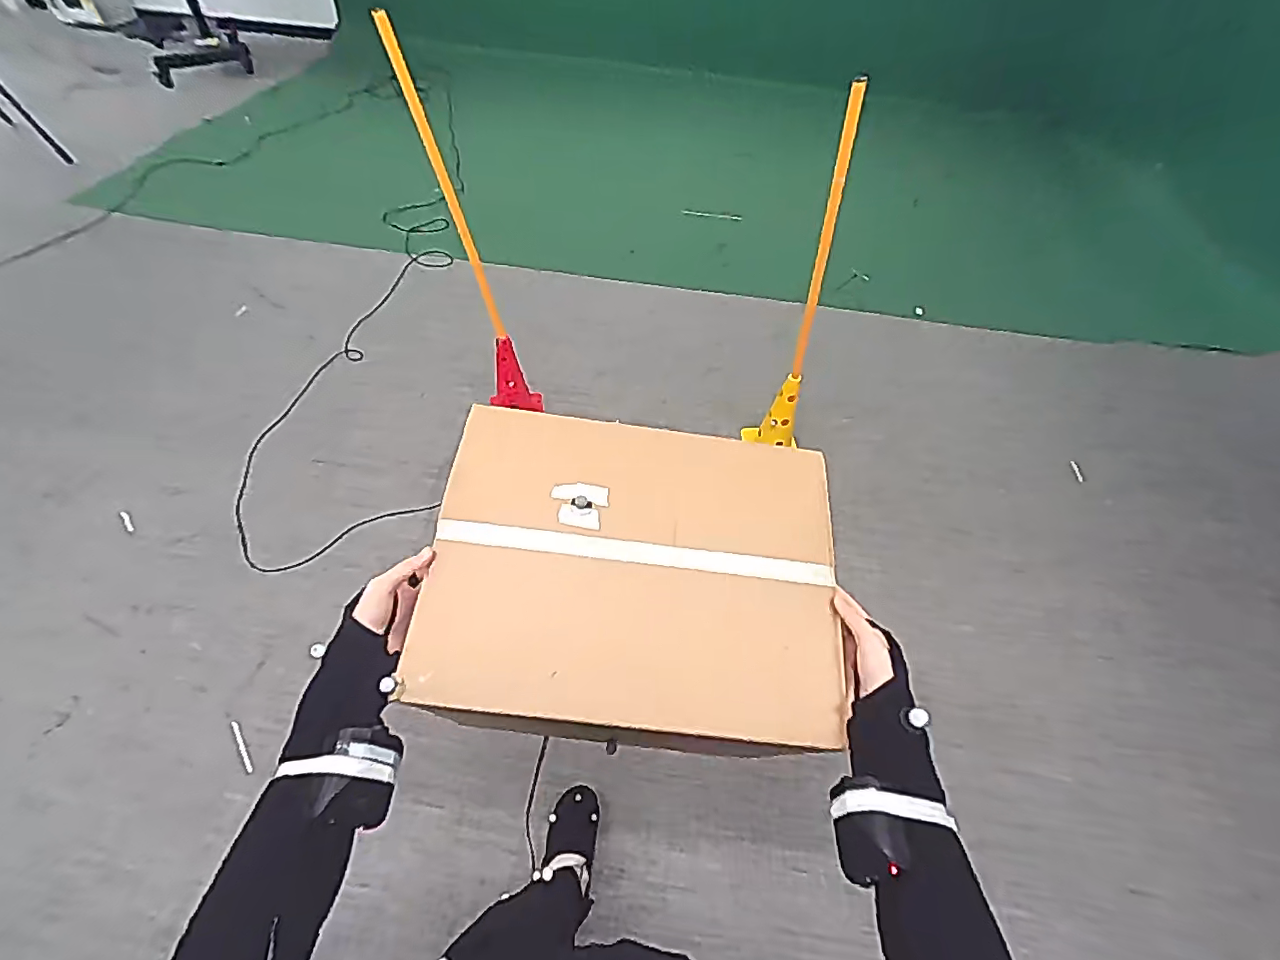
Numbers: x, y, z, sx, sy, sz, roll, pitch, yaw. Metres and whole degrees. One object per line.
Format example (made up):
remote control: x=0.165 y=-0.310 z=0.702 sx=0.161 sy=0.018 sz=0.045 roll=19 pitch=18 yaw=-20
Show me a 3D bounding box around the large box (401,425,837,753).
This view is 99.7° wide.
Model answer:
large box: x=-0.016 y=0.160 z=0.687 sx=0.408 sy=0.320 sz=0.320 roll=7 pitch=60 yaw=-2
